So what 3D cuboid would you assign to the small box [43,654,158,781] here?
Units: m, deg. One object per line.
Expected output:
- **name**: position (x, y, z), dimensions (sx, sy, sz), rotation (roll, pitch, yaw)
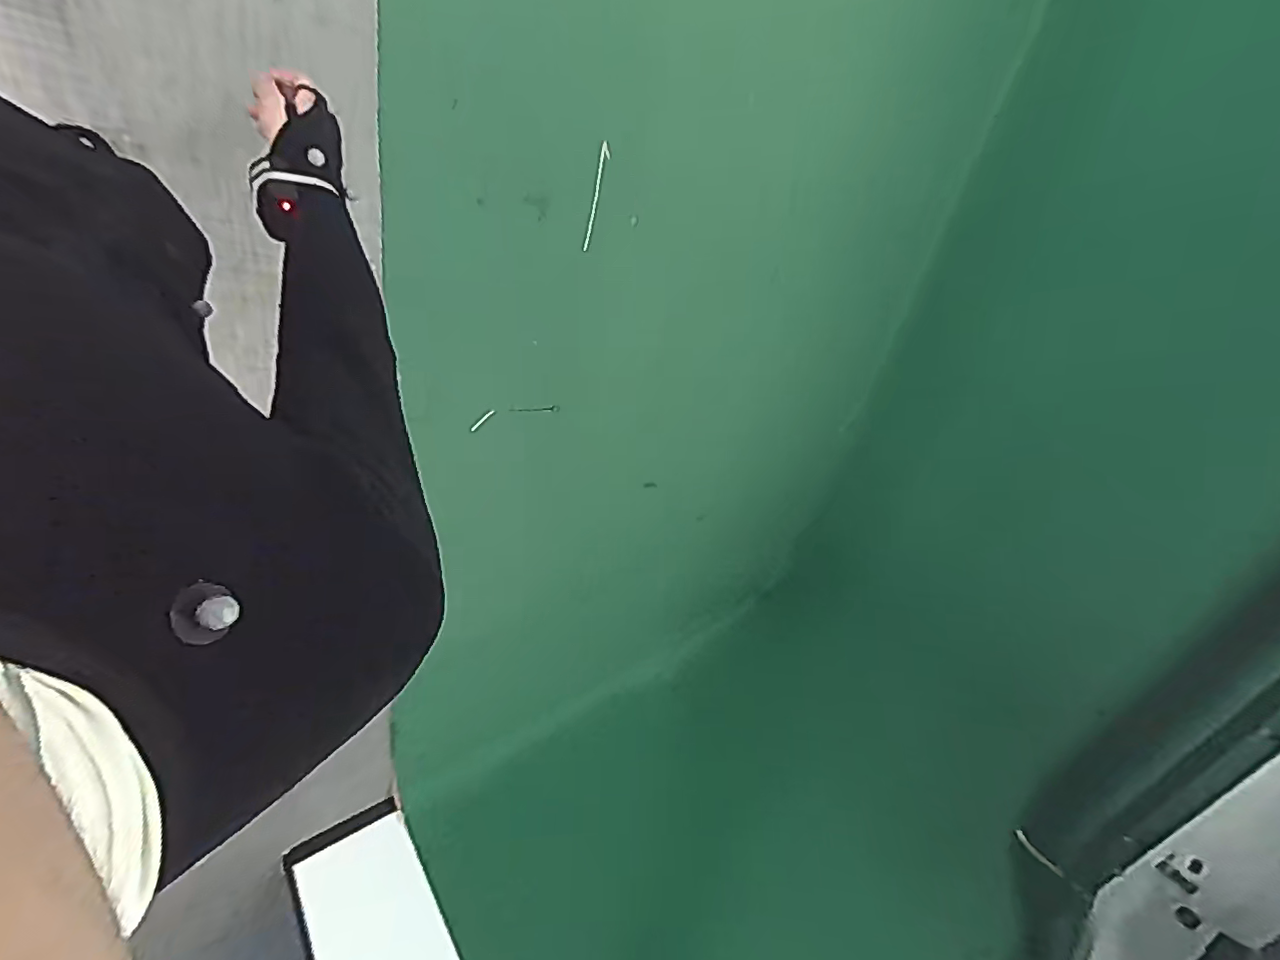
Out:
- **small box**: position (-1.201, 0.515, 1.207), dimensions (0.168, 0.176, 0.179), rotation (-8, 127, -42)
